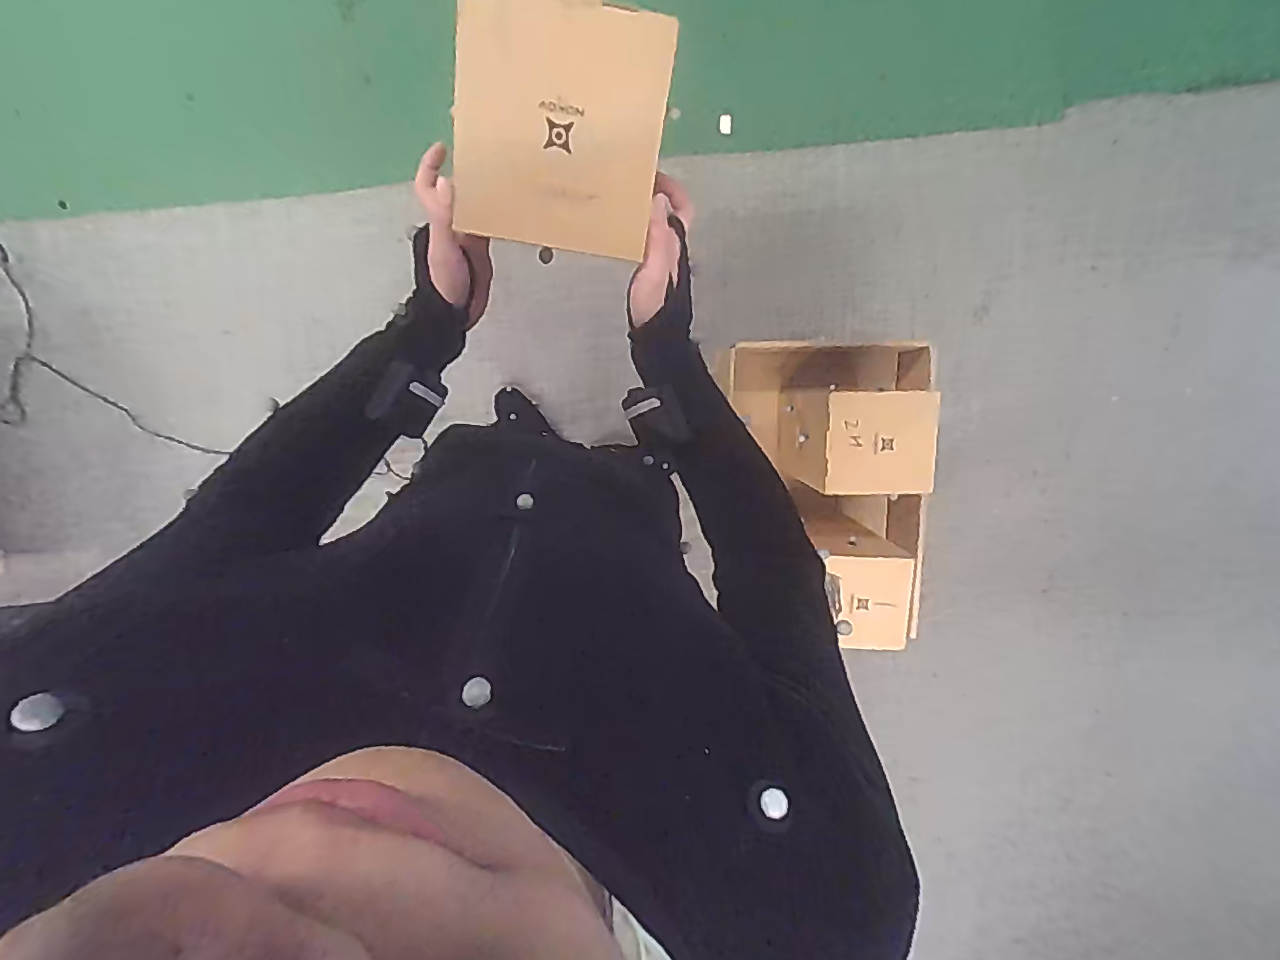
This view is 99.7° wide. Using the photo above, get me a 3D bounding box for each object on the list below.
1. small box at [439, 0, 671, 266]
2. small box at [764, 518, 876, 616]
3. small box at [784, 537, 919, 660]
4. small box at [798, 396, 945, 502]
[{"bbox_3d":[-0.073,-0.302,0.495,0.168,0.176,0.179,8,112,-4],"label":"small box"},{"bbox_3d":[0.368,0.178,1.131,0.179,0.176,0.168,1,99,2],"label":"small box"},{"bbox_3d":[0.365,0.204,0.968,0.179,0.176,0.168,2,99,1],"label":"small box"},{"bbox_3d":[0.385,-0.059,0.925,0.179,0.176,0.168,0,99,1],"label":"small box"}]
